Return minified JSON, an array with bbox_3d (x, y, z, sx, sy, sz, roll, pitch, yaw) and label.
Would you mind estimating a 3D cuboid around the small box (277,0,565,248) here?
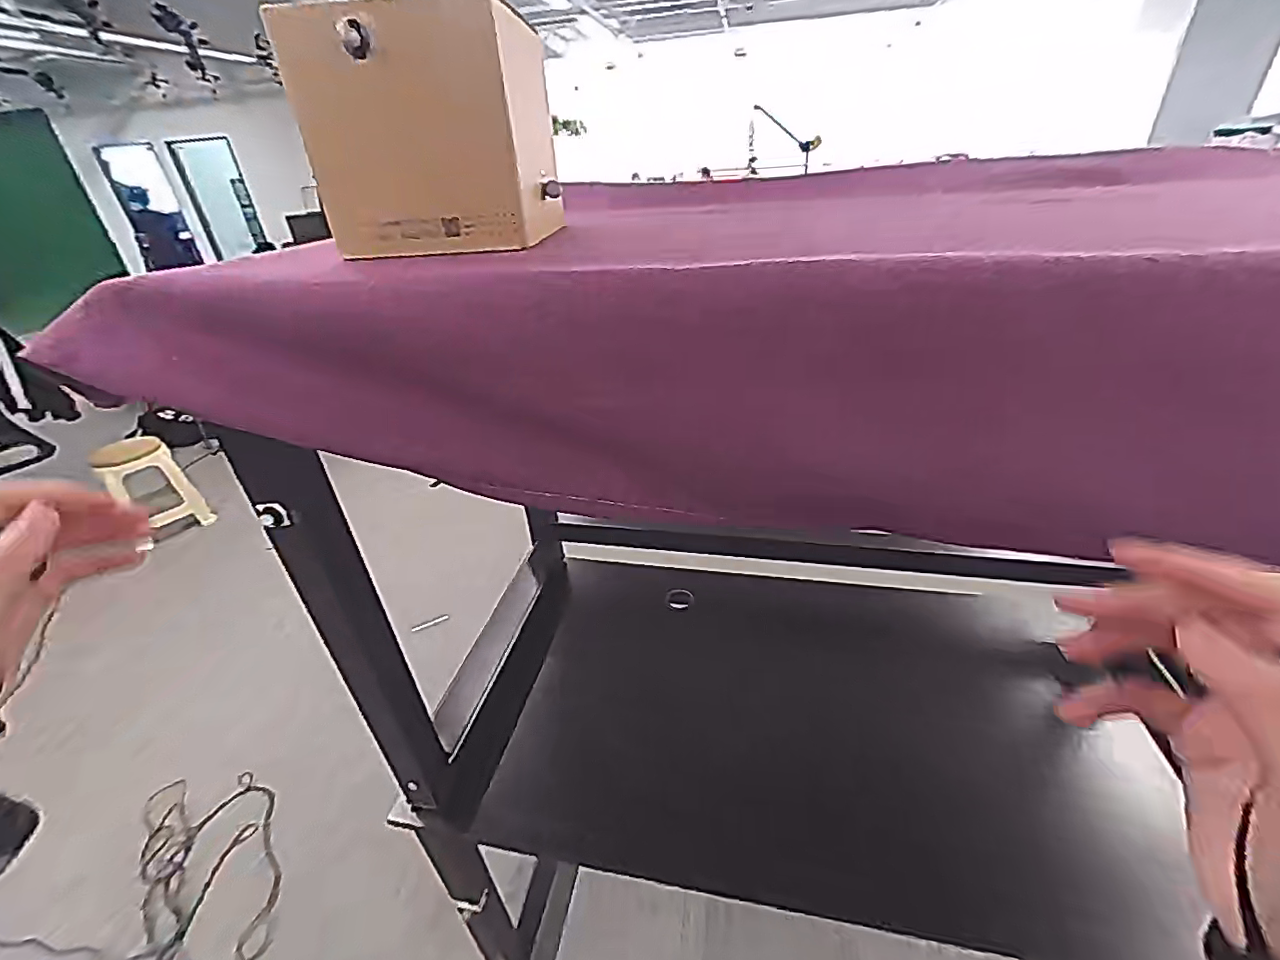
[{"bbox_3d":[-0.166,-0.307,0.481,0.168,0.176,0.179,-1,30,5],"label":"small box"}]
